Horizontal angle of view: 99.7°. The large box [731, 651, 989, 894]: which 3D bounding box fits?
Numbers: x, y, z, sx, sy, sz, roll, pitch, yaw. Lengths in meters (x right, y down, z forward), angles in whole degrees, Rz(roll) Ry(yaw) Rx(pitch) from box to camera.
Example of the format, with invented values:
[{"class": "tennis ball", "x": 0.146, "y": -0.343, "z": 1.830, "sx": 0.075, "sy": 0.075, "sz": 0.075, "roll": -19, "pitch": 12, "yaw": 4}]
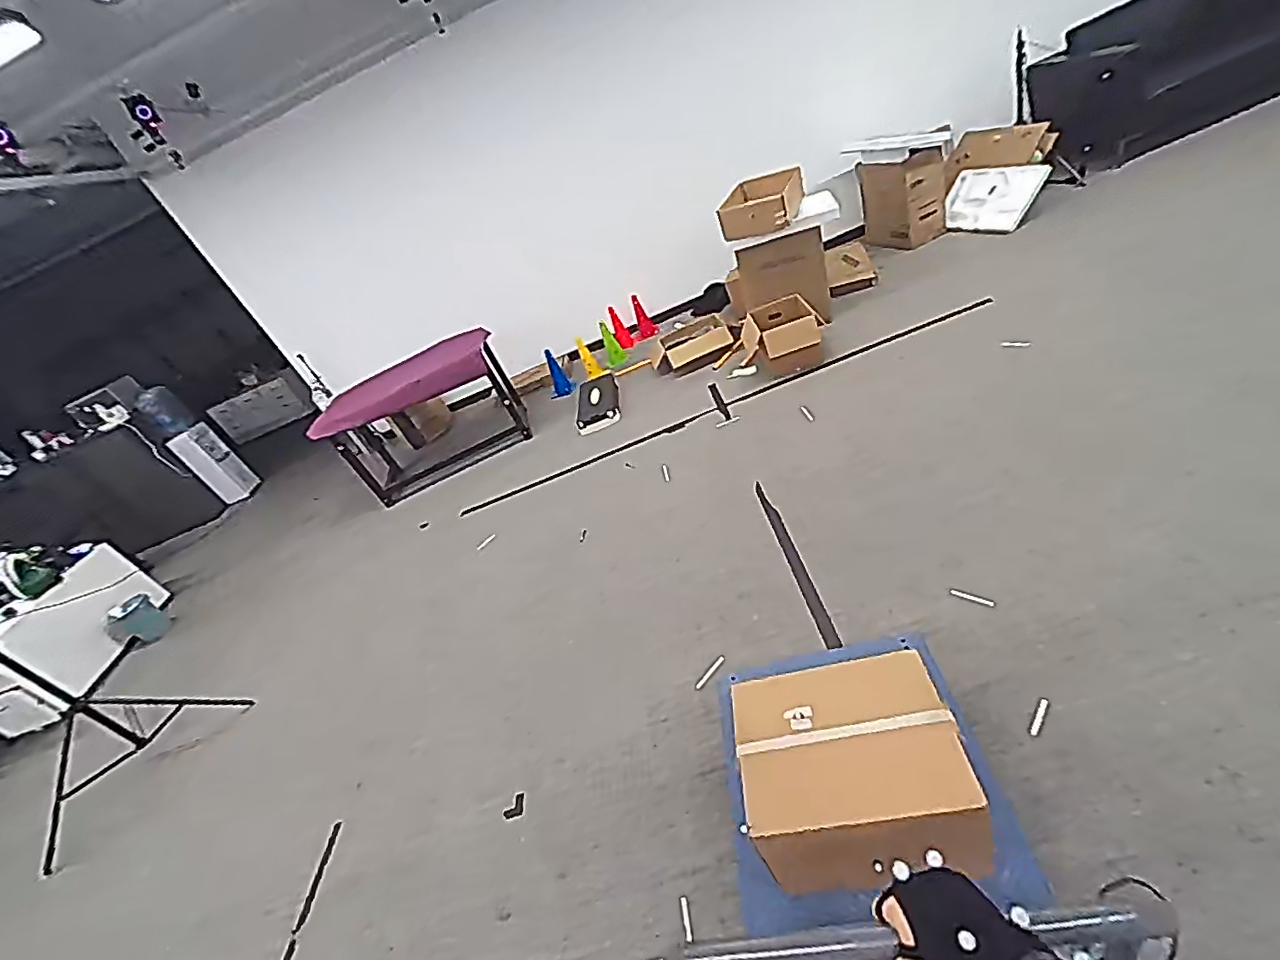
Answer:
[{"class": "large box", "x": 0.446, "y": 0.622, "z": 1.143, "sx": 0.408, "sy": 0.320, "sz": 0.320, "roll": -18, "pitch": 32, "yaw": 14}]
